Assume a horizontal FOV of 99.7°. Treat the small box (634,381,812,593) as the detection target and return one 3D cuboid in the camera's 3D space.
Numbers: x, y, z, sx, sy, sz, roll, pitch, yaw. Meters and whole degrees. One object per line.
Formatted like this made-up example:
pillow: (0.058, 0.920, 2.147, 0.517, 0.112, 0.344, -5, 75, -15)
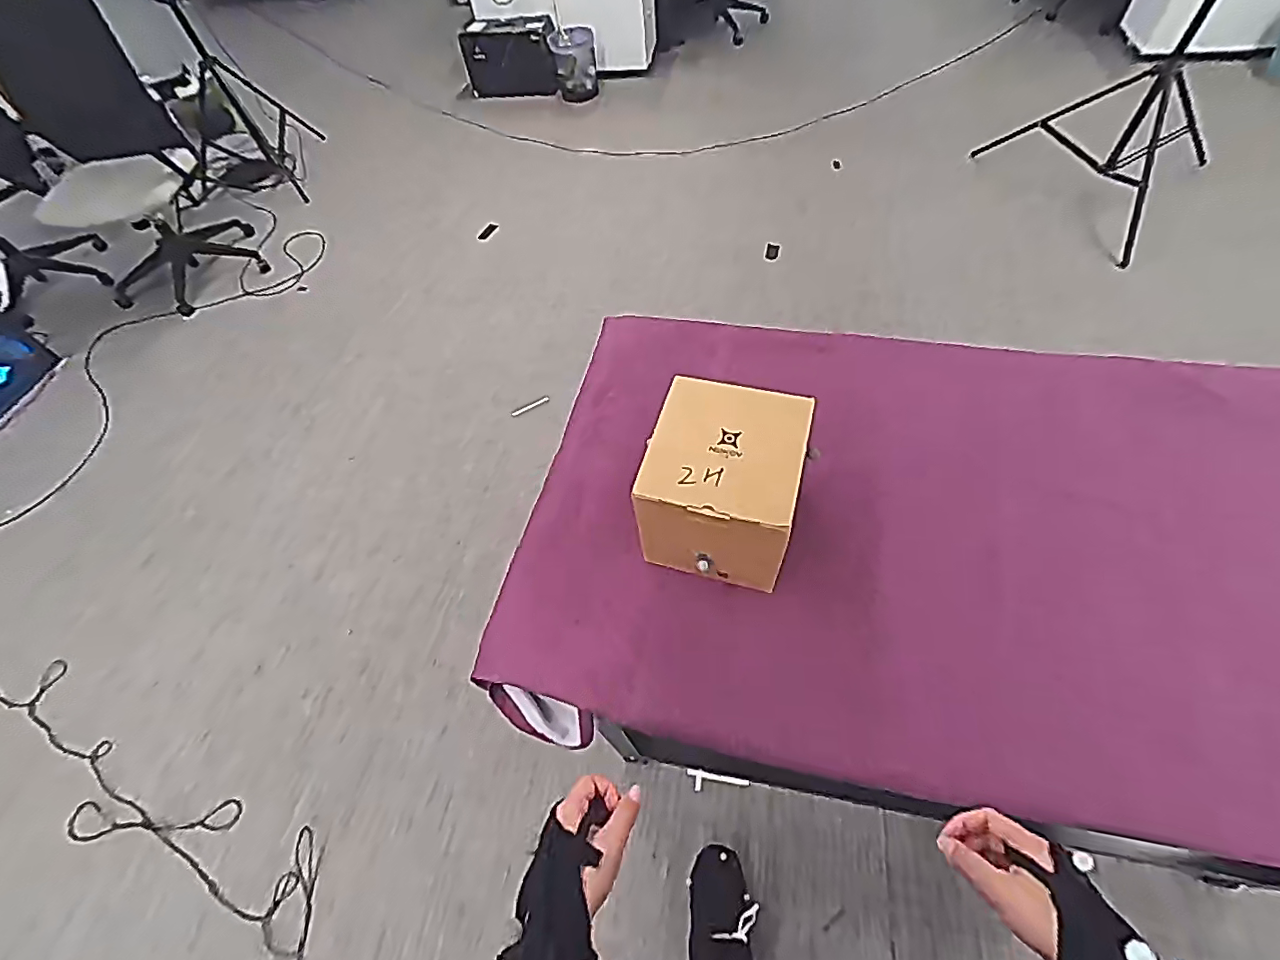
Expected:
small box: (0.100, 0.011, 0.658, 0.168, 0.176, 0.179, 12, 58, 14)
